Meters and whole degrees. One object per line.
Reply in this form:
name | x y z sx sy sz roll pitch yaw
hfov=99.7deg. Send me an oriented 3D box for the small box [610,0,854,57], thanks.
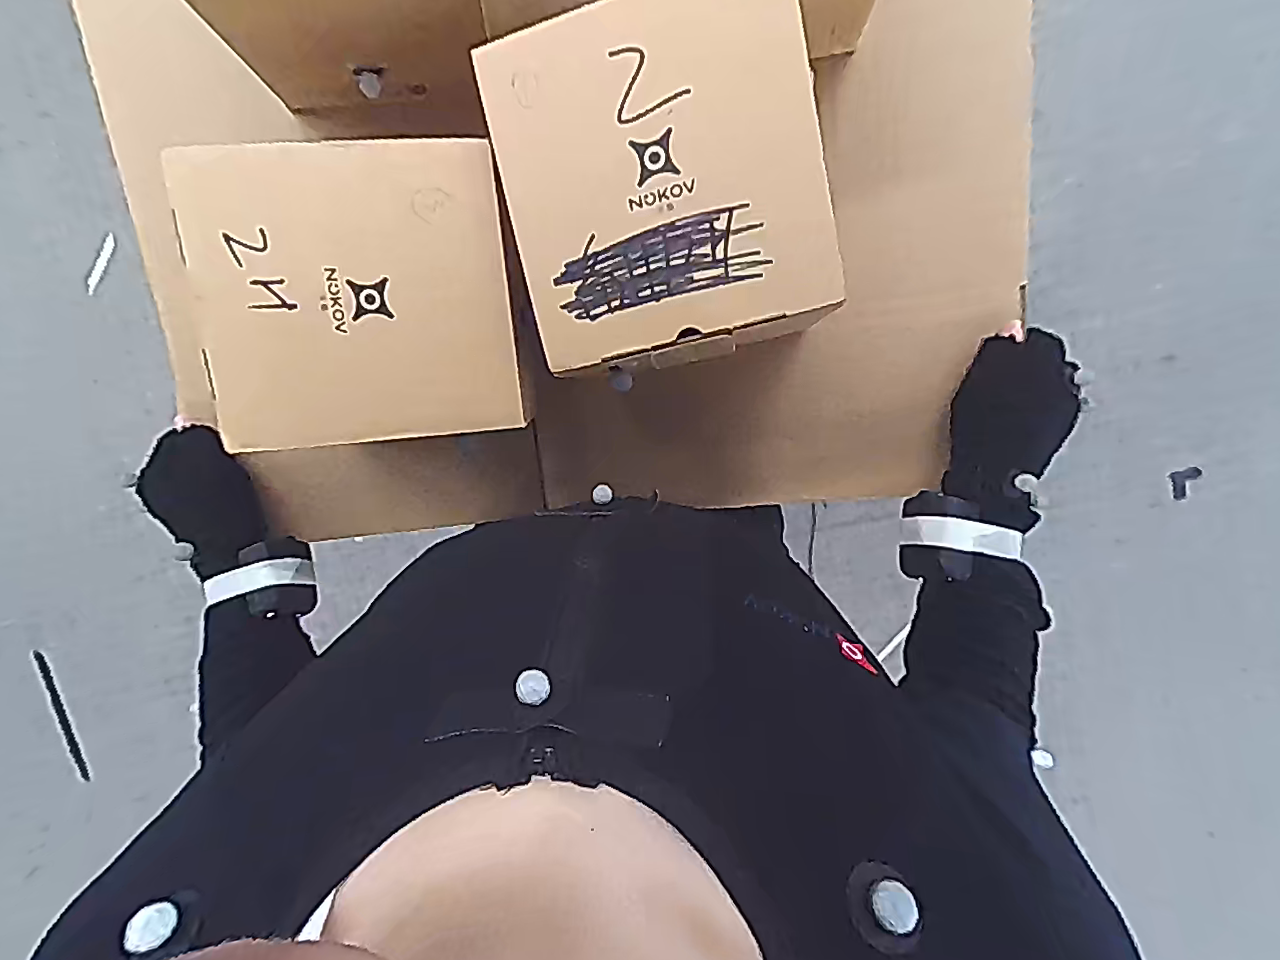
small box | 0.054 -0.387 0.314 0.168 0.176 0.179 -3 99 9
